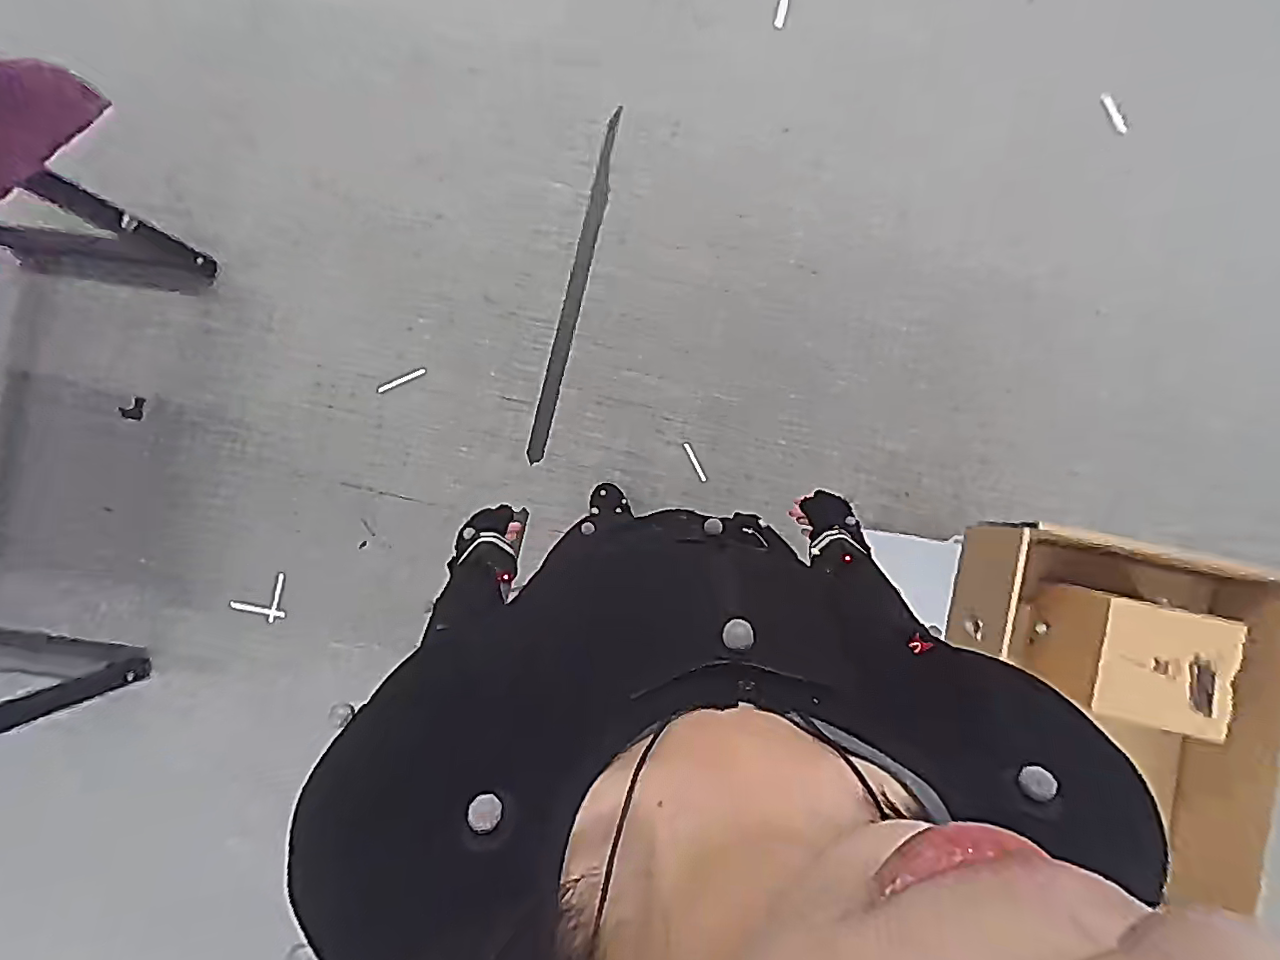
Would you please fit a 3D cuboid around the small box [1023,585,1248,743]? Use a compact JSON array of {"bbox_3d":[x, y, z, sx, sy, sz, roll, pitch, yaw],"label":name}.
[{"bbox_3d":[0.736,0.265,0.823,0.179,0.176,0.168,12,88,6],"label":"small box"}]
